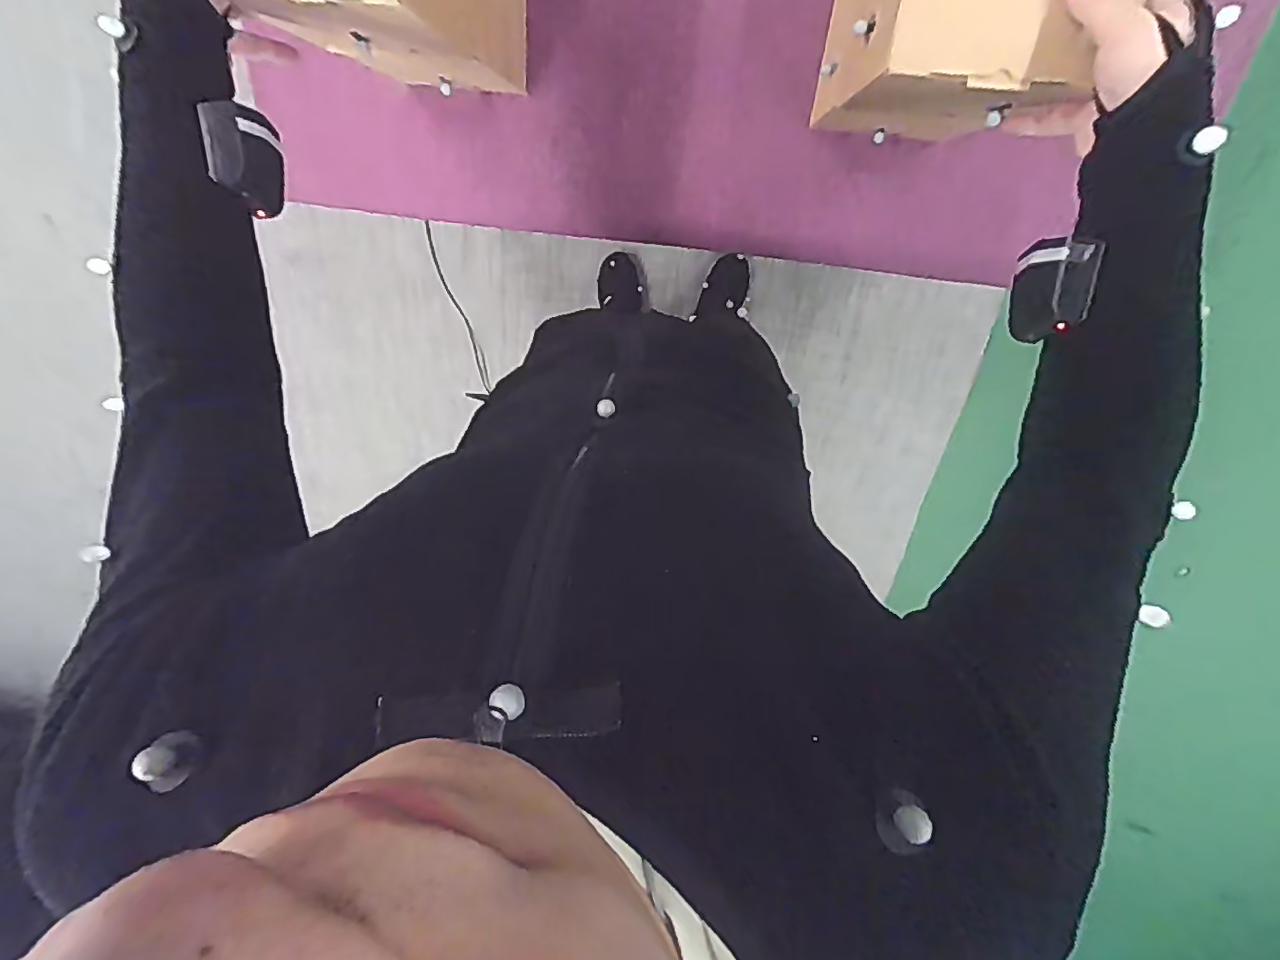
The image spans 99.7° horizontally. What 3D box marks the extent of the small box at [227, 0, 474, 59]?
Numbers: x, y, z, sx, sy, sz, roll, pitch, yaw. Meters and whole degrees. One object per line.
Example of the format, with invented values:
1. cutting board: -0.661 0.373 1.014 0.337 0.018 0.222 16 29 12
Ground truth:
1. small box: -0.251 -0.482 0.449 0.168 0.176 0.179 6 118 4

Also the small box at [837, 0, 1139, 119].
1. small box: 0.267 -0.400 0.422 0.168 0.176 0.179 8 116 3

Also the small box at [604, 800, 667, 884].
1. small box: -0.011 1.246 1.867 0.179 0.176 0.168 17 117 -2

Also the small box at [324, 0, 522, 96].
1. small box: -0.234 -0.552 0.594 0.168 0.176 0.179 8 116 4
